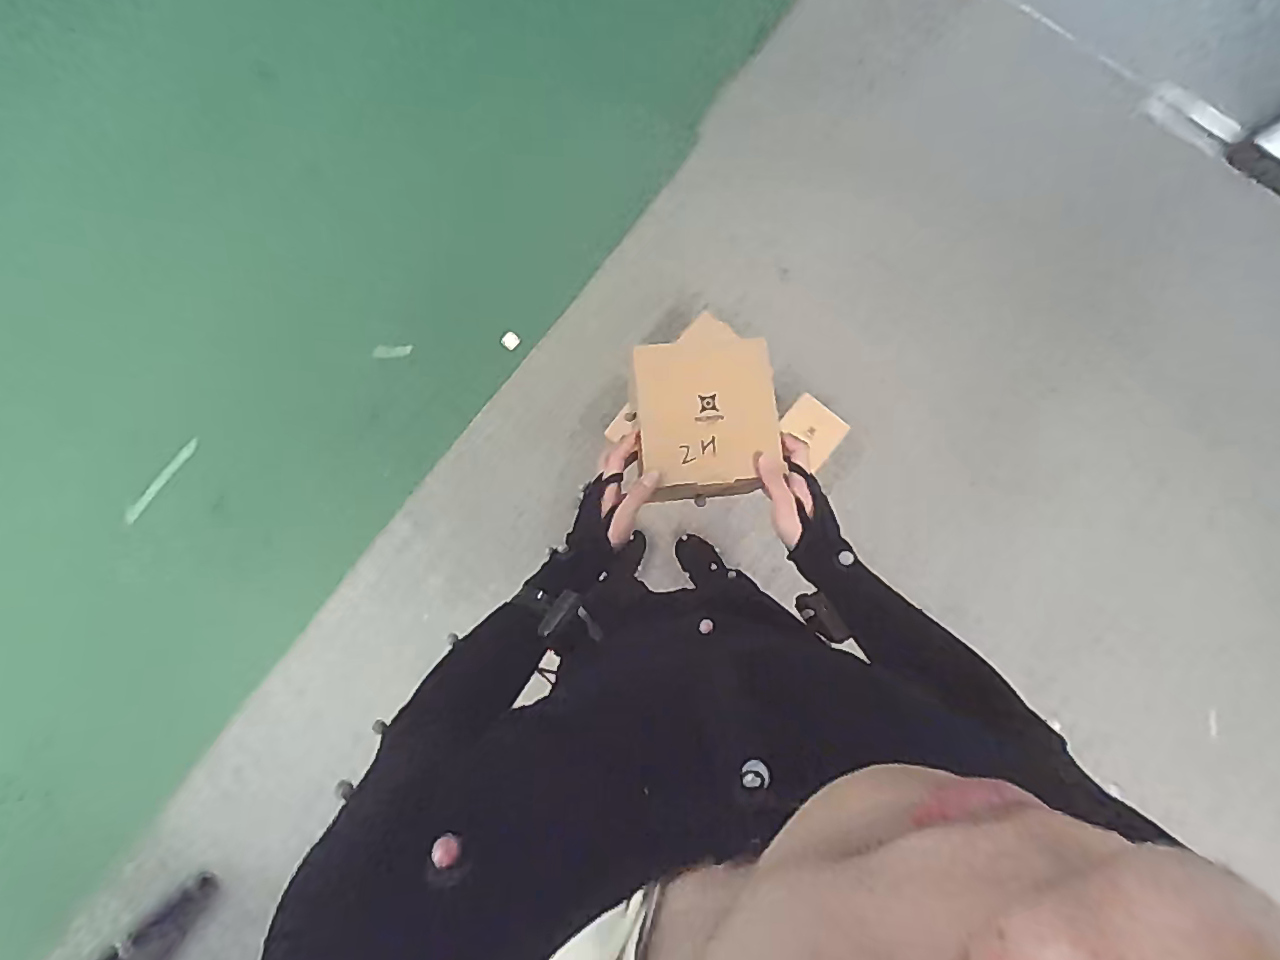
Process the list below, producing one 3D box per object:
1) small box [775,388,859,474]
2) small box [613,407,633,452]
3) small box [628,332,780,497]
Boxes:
[{"bbox_3d":[0.493,-0.134,1.571,0.168,0.176,0.179,41,88,4],"label":"small box"},{"bbox_3d":[0.039,-0.156,1.589,0.168,0.176,0.179,39,87,5],"label":"small box"},{"bbox_3d":[0.073,-0.078,0.720,0.168,0.176,0.179,-5,83,-3],"label":"small box"}]
